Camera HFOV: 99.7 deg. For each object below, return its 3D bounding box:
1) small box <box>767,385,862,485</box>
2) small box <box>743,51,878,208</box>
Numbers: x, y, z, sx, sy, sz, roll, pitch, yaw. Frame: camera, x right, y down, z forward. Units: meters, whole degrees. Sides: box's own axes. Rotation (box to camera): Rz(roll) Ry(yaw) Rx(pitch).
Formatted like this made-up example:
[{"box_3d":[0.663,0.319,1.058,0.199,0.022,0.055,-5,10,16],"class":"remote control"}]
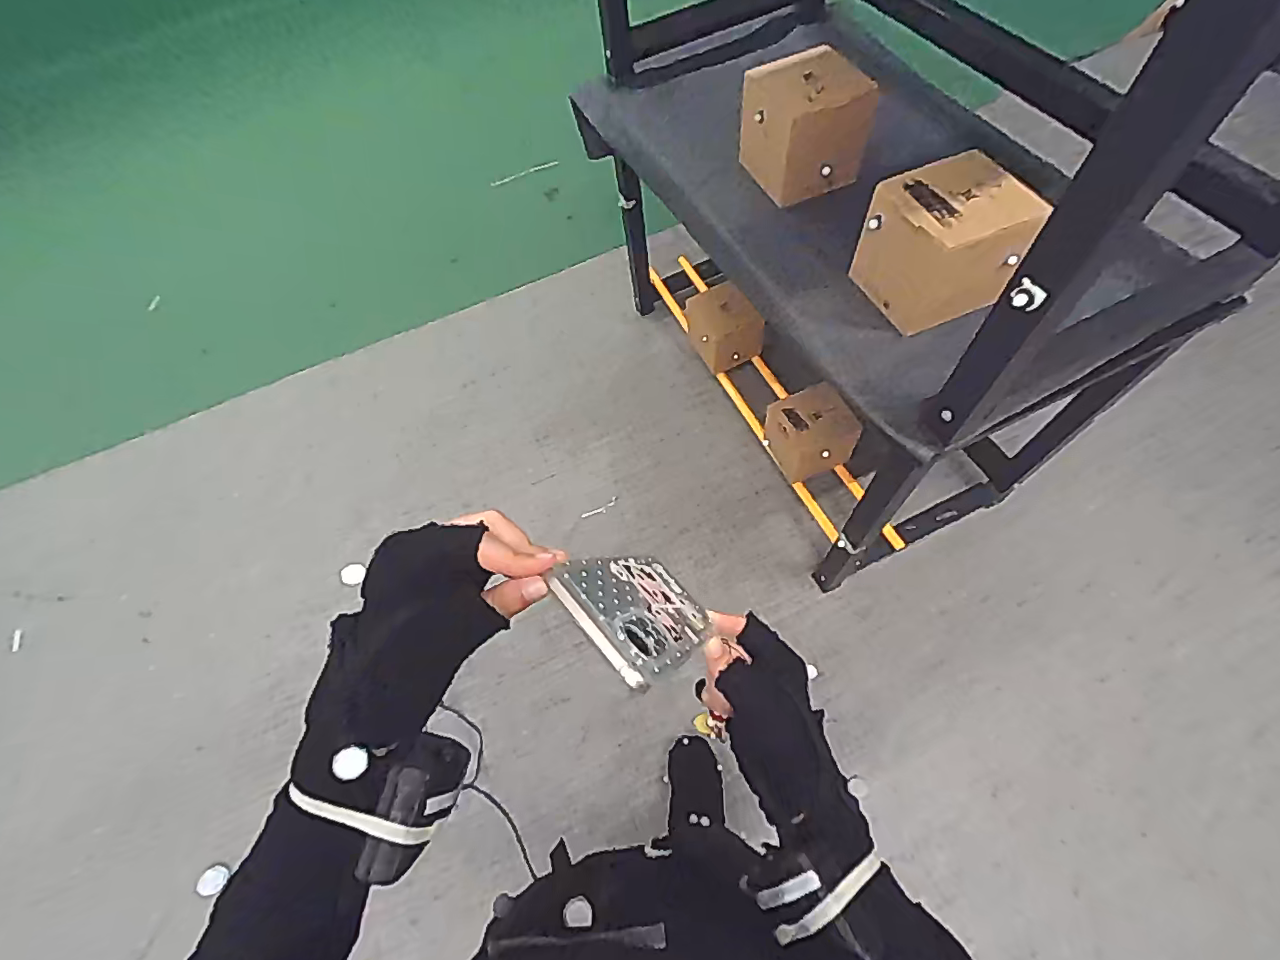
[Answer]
[{"box_3d":[0.445,-0.111,1.412,0.179,0.176,0.168,-22,62,-5],"class":"small box"},{"box_3d":[0.302,-0.647,1.006,0.168,0.176,0.179,-22,61,-5],"class":"small box"}]
